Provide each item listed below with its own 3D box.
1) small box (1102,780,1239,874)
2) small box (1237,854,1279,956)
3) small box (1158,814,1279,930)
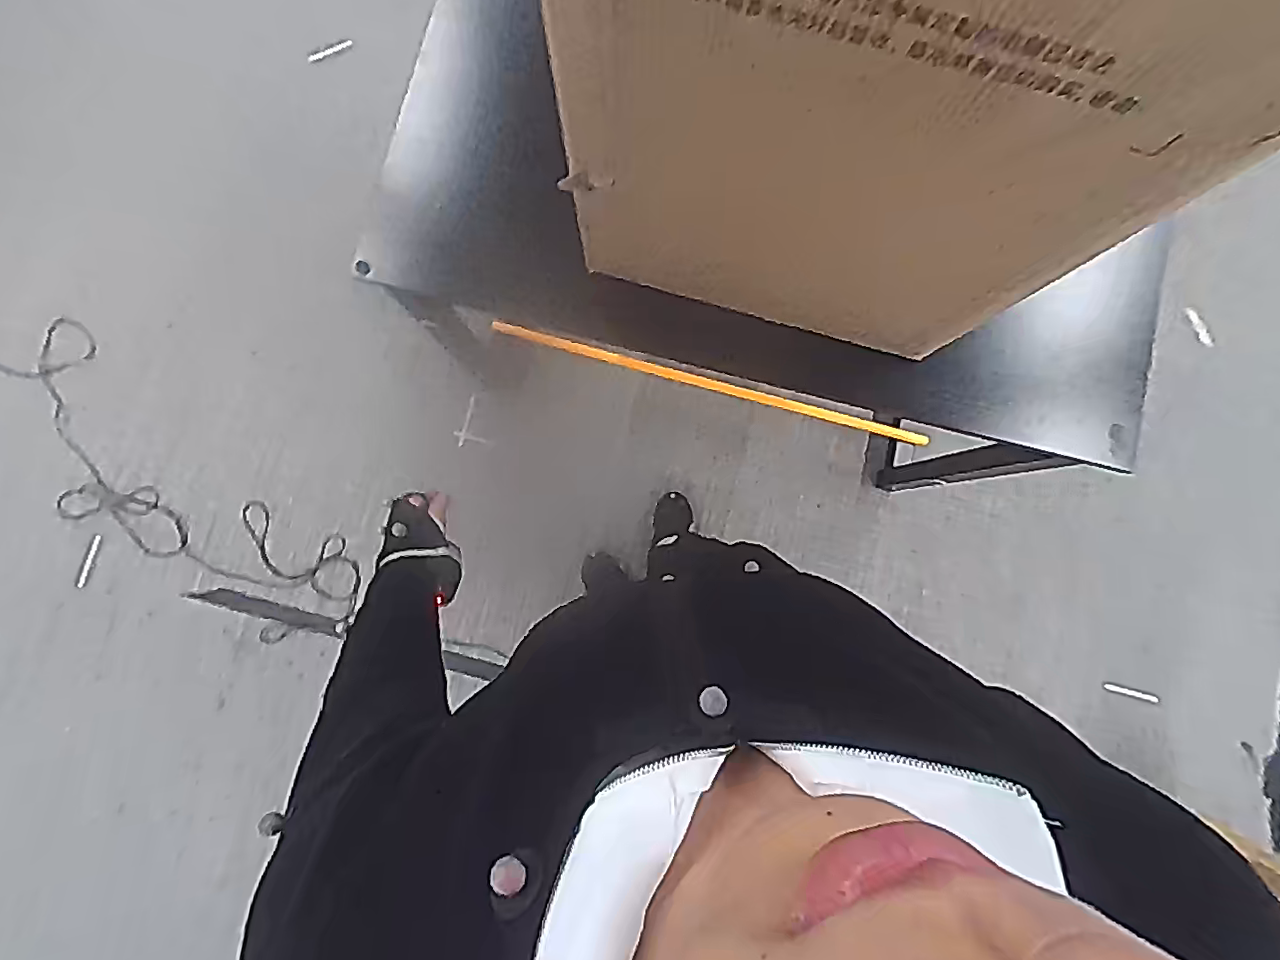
[{"bbox_3d":[1.359,0.906,1.393,0.179,0.176,0.168,14,84,1],"label":"small box"},{"bbox_3d":[1.354,0.881,1.065,0.179,0.176,0.168,16,84,1],"label":"small box"},{"bbox_3d":[1.352,0.897,1.228,0.179,0.176,0.168,15,84,0],"label":"small box"}]
